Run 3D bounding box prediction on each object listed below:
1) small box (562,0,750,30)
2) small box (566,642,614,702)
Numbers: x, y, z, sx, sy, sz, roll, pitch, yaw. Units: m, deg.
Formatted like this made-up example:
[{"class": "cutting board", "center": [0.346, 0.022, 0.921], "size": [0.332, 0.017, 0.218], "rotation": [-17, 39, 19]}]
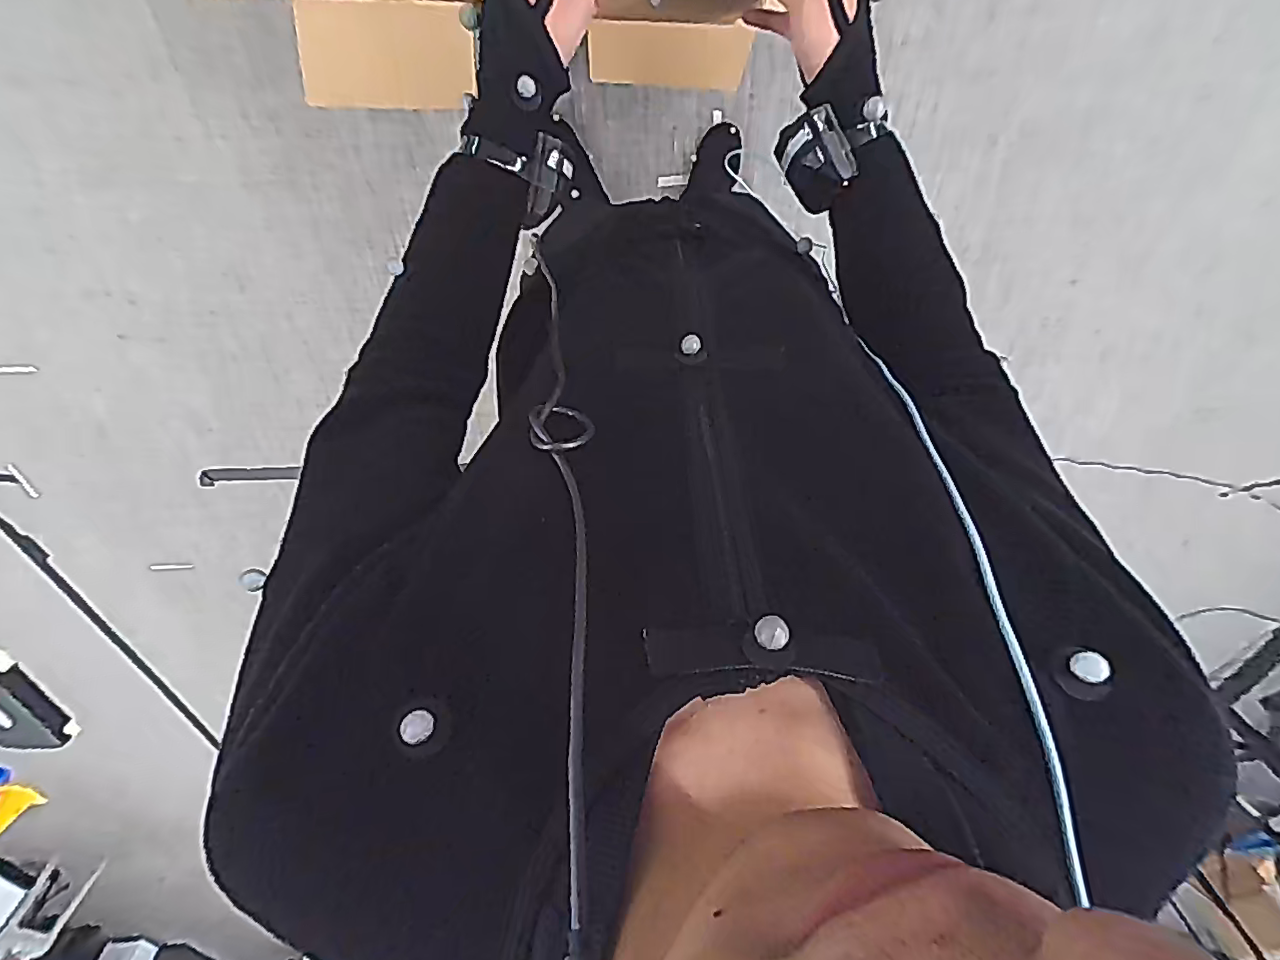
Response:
[{"class": "small box", "center": [0.019, -0.485, 0.434], "size": [0.179, 0.176, 0.168], "rotation": [-3, 120, -7]}, {"class": "small box", "center": [-0.199, 0.774, 2.191], "size": [0.179, 0.176, 0.168], "rotation": [-3, 127, 0]}]
